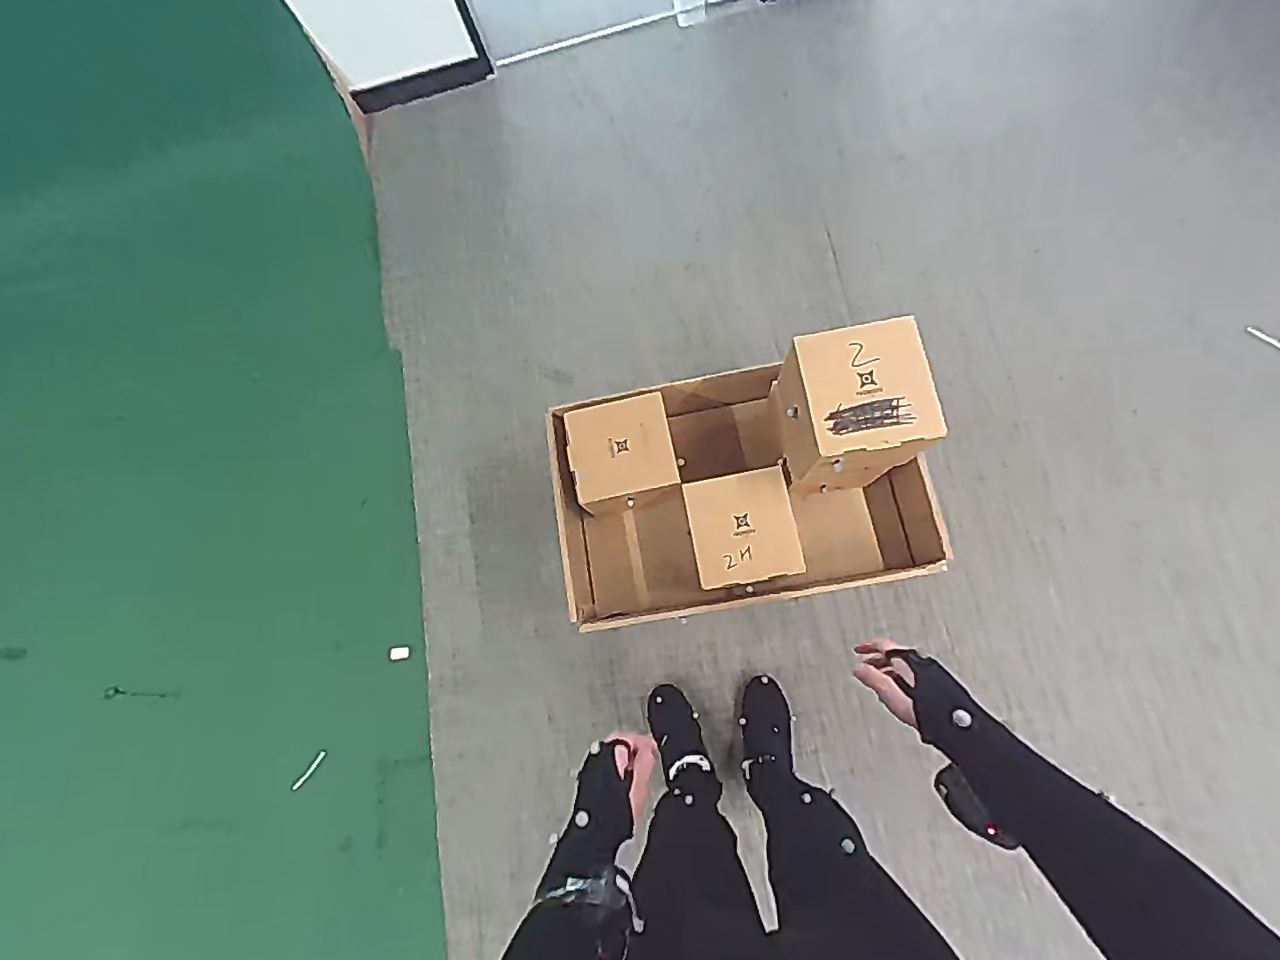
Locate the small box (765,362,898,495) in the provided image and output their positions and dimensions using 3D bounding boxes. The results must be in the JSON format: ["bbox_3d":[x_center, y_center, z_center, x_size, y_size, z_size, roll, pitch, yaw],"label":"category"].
[{"bbox_3d":[0.325,-0.082,0.954,0.168,0.176,0.179,-10,78,4],"label":"small box"}]
